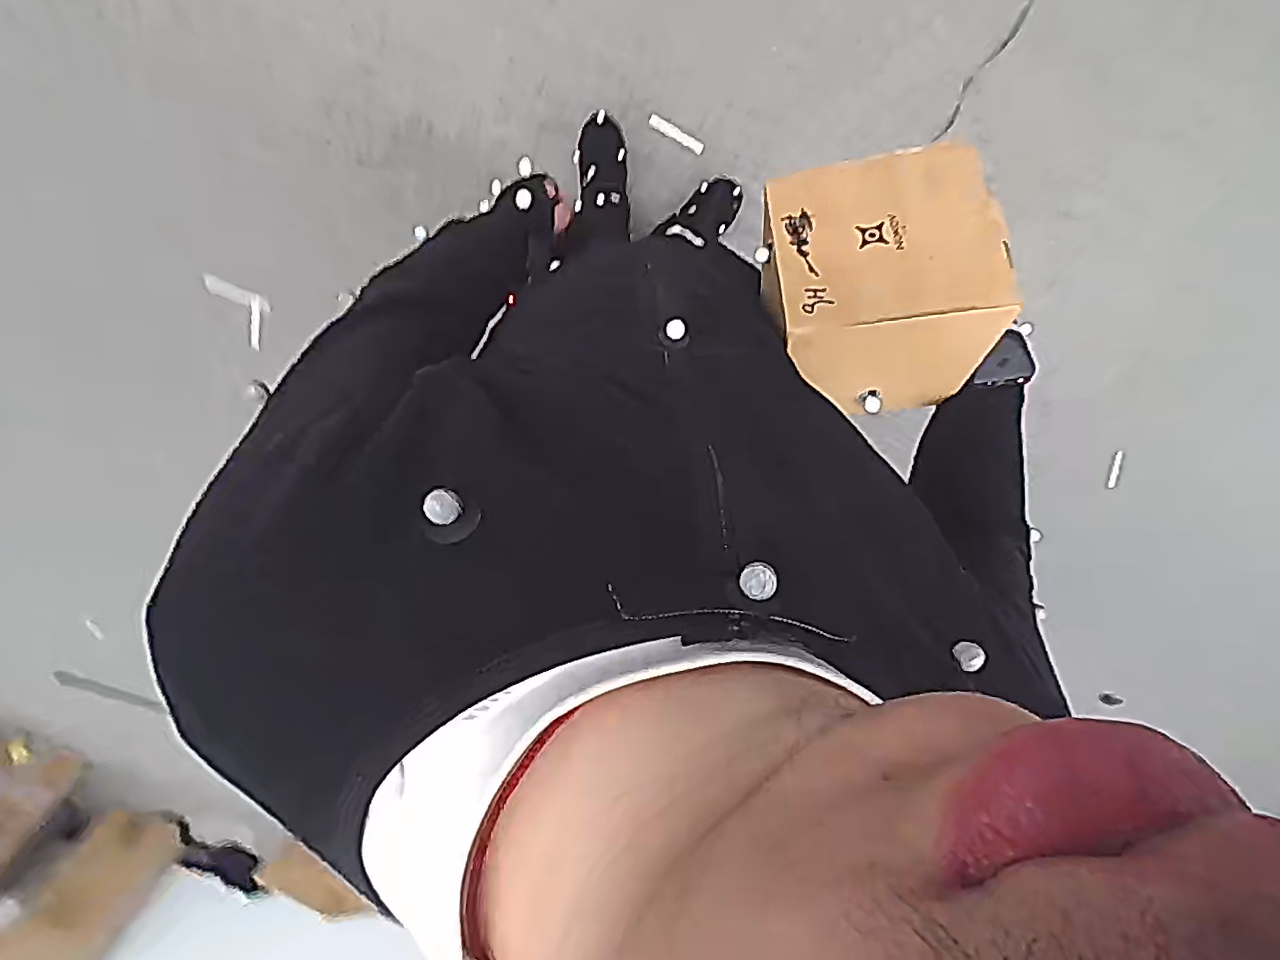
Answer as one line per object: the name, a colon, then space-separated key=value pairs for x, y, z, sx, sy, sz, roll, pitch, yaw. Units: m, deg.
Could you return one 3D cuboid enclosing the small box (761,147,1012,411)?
small box: x=0.219 y=-0.183 z=0.536 sx=0.179 sy=0.168 sz=0.176 roll=-6 pitch=160 yaw=9
